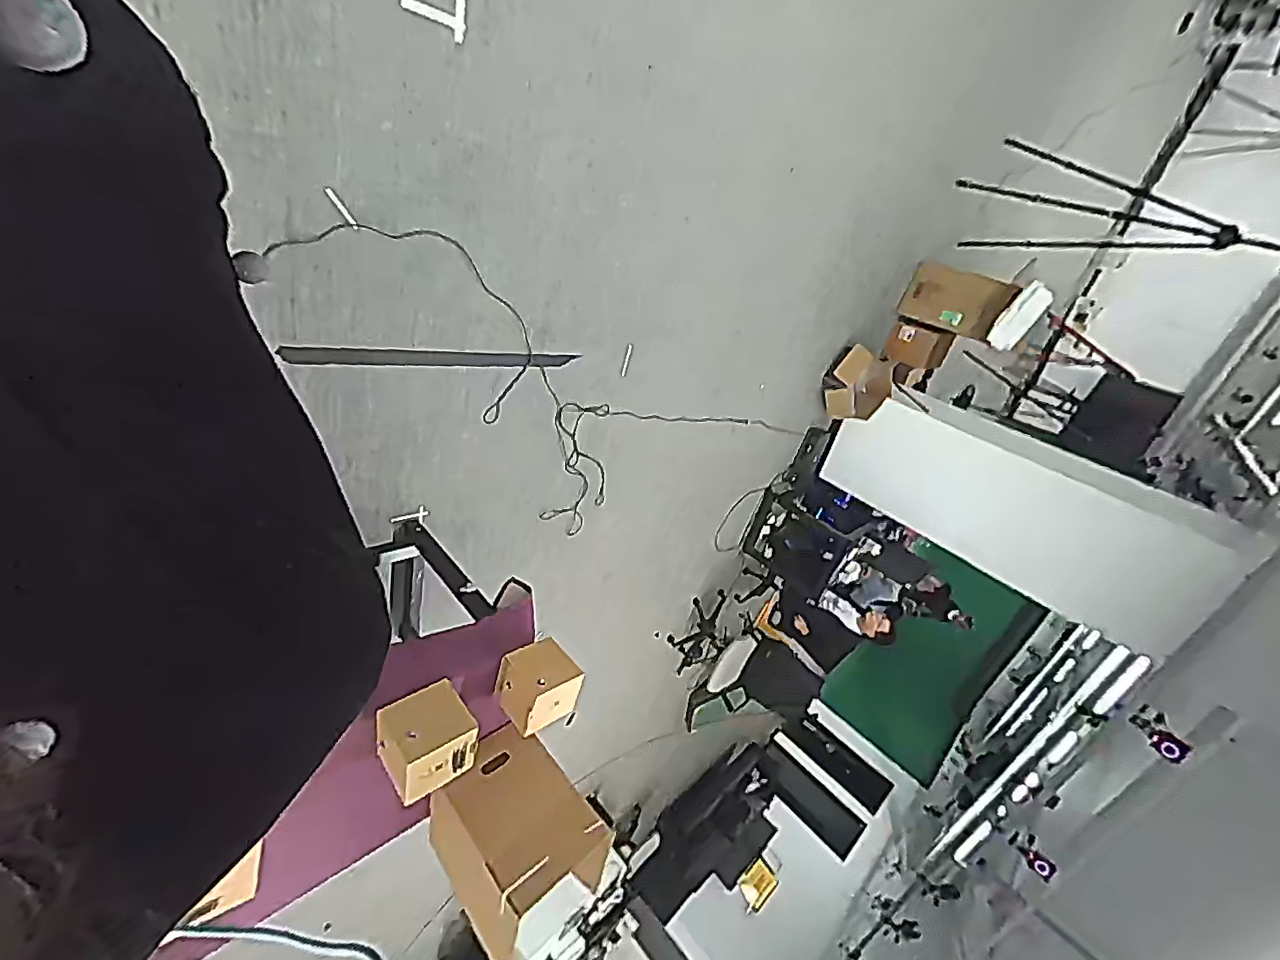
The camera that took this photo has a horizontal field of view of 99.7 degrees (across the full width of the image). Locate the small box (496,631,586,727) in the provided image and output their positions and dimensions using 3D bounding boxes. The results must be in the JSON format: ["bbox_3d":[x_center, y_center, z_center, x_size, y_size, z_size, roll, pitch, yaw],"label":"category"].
[{"bbox_3d":[-0.291,0.571,1.579,0.179,0.176,0.168,-11,128,-45],"label":"small box"}]
